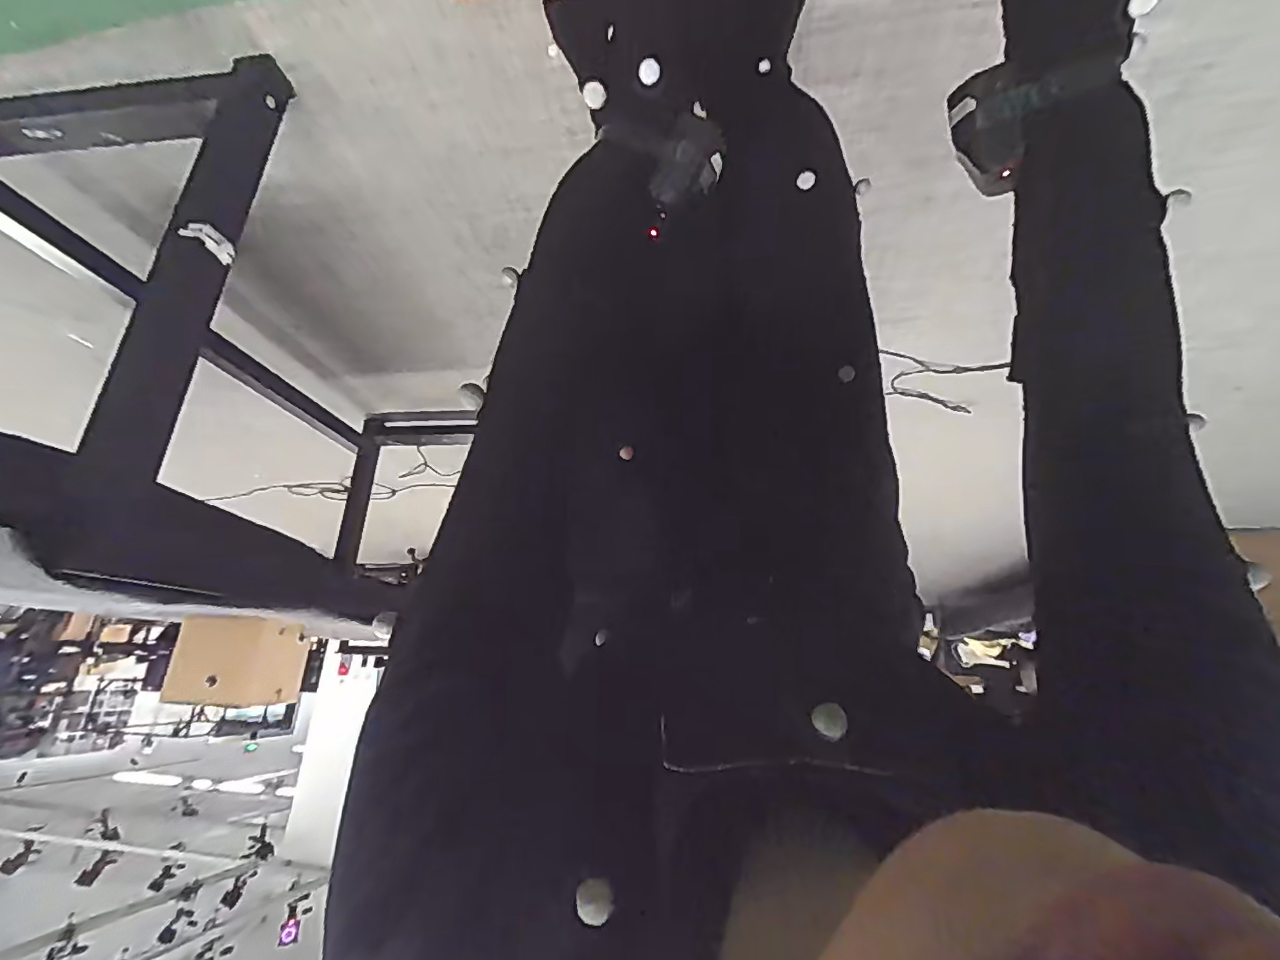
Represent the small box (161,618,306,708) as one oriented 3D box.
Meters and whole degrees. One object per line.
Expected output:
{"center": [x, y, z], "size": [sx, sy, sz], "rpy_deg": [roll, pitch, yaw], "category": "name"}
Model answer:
{"center": [-0.841, 0.383, 1.143], "size": [0.179, 0.176, 0.168], "rpy_deg": [1, 160, 4], "category": "small box"}
